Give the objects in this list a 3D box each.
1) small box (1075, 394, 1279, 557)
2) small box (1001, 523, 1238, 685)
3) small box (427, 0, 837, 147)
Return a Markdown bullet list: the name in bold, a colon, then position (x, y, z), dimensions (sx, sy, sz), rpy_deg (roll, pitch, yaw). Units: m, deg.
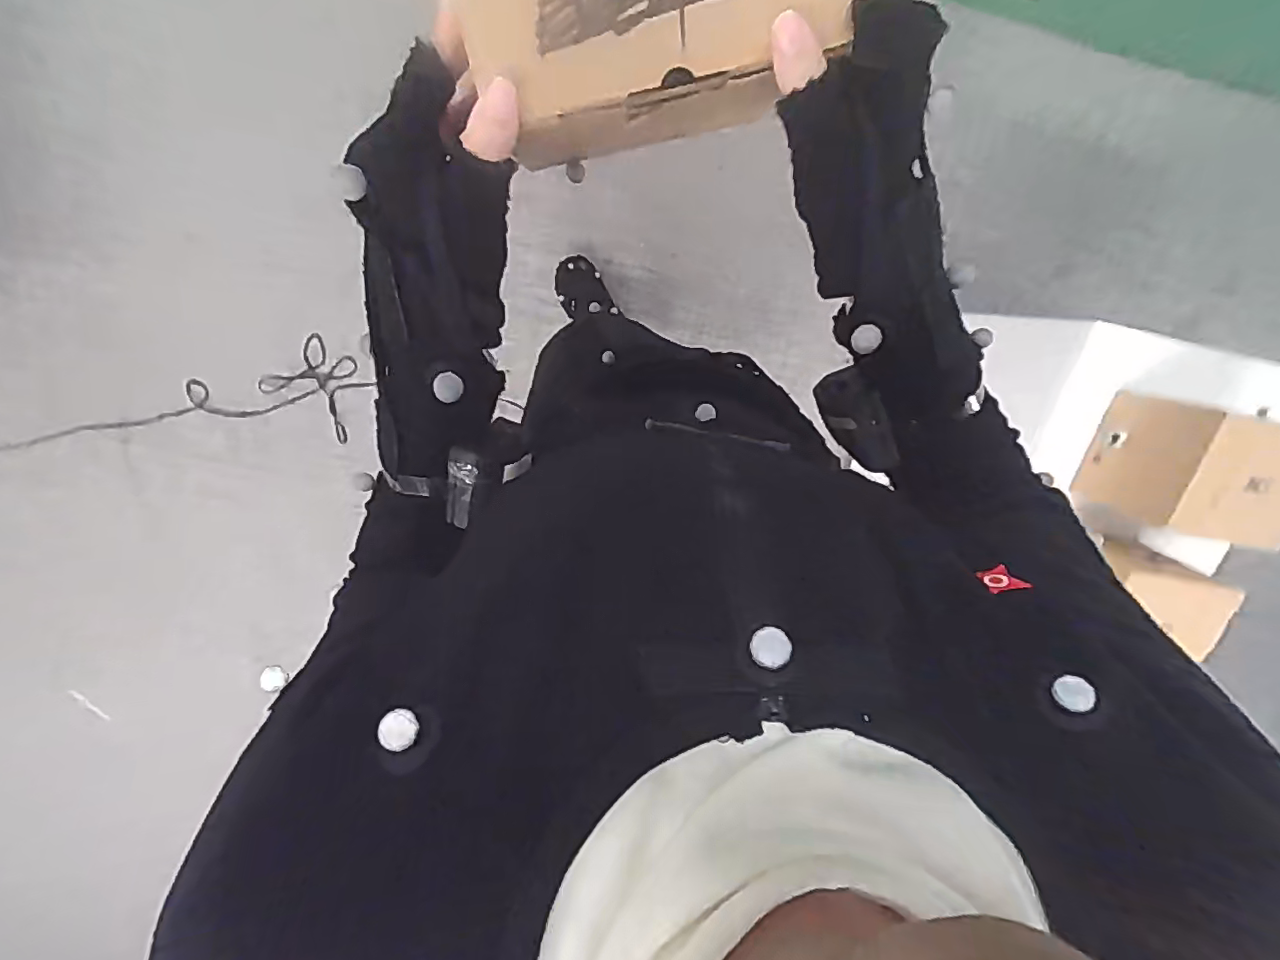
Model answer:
- **small box**: position (0.772, -0.014, 0.747), dimensions (0.179, 0.176, 0.168), rpy_deg (10, 109, -3)
- **small box**: position (0.714, 0.182, 0.829), dimensions (0.179, 0.176, 0.168), rpy_deg (11, 109, -6)
- **small box**: position (-0.019, -0.281, 0.263), dimensions (0.168, 0.176, 0.179), rpy_deg (-13, 114, 1)
